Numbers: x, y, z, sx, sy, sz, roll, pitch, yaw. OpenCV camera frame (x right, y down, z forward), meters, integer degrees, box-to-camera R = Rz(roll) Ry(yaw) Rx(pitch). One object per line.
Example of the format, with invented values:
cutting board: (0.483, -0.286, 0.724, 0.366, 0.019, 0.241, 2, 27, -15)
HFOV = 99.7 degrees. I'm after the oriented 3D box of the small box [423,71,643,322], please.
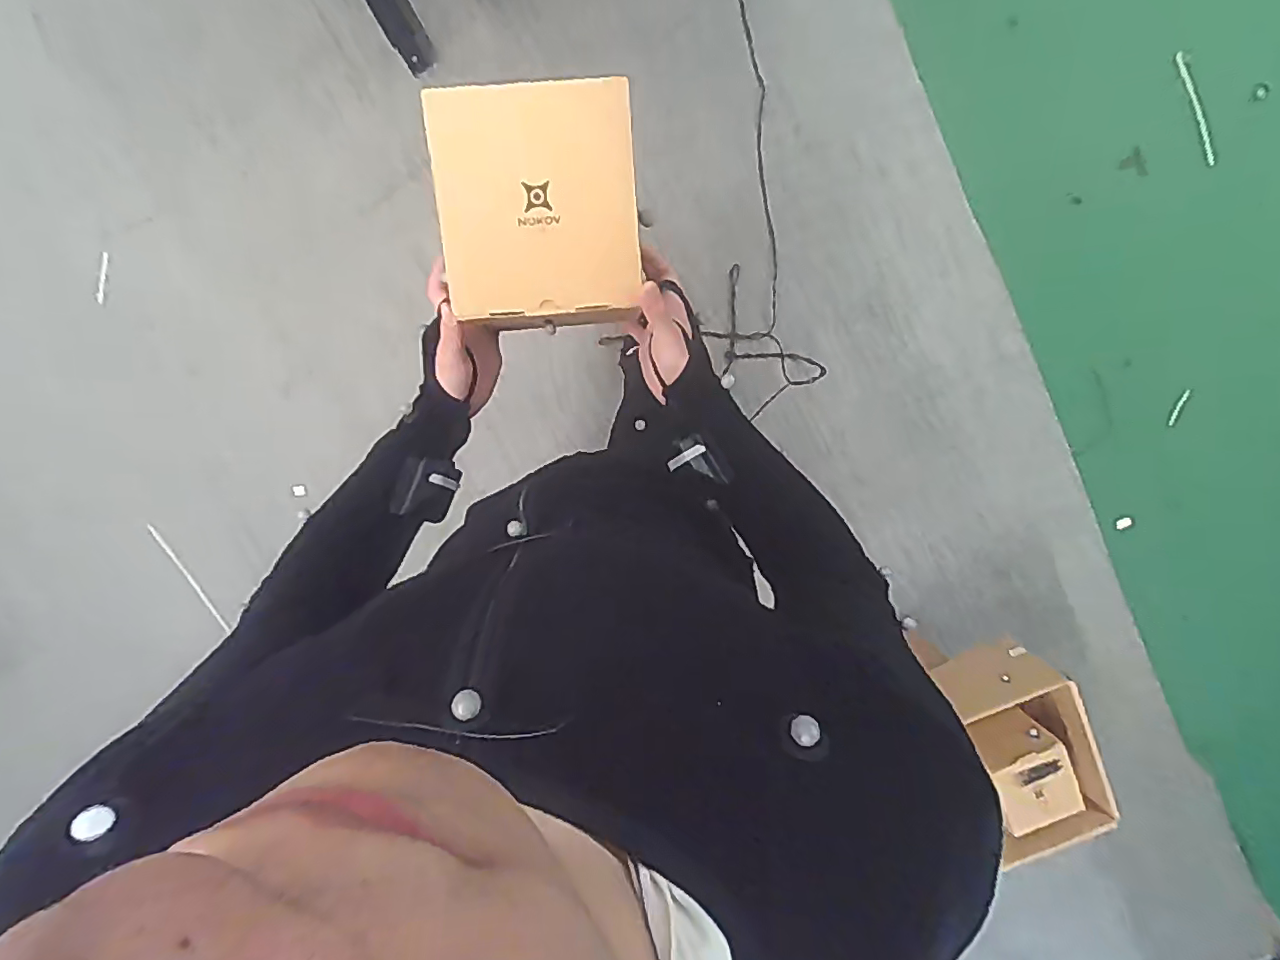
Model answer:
small box: (-0.088, -0.251, 0.520, 0.168, 0.176, 0.179, -5, 104, -1)
